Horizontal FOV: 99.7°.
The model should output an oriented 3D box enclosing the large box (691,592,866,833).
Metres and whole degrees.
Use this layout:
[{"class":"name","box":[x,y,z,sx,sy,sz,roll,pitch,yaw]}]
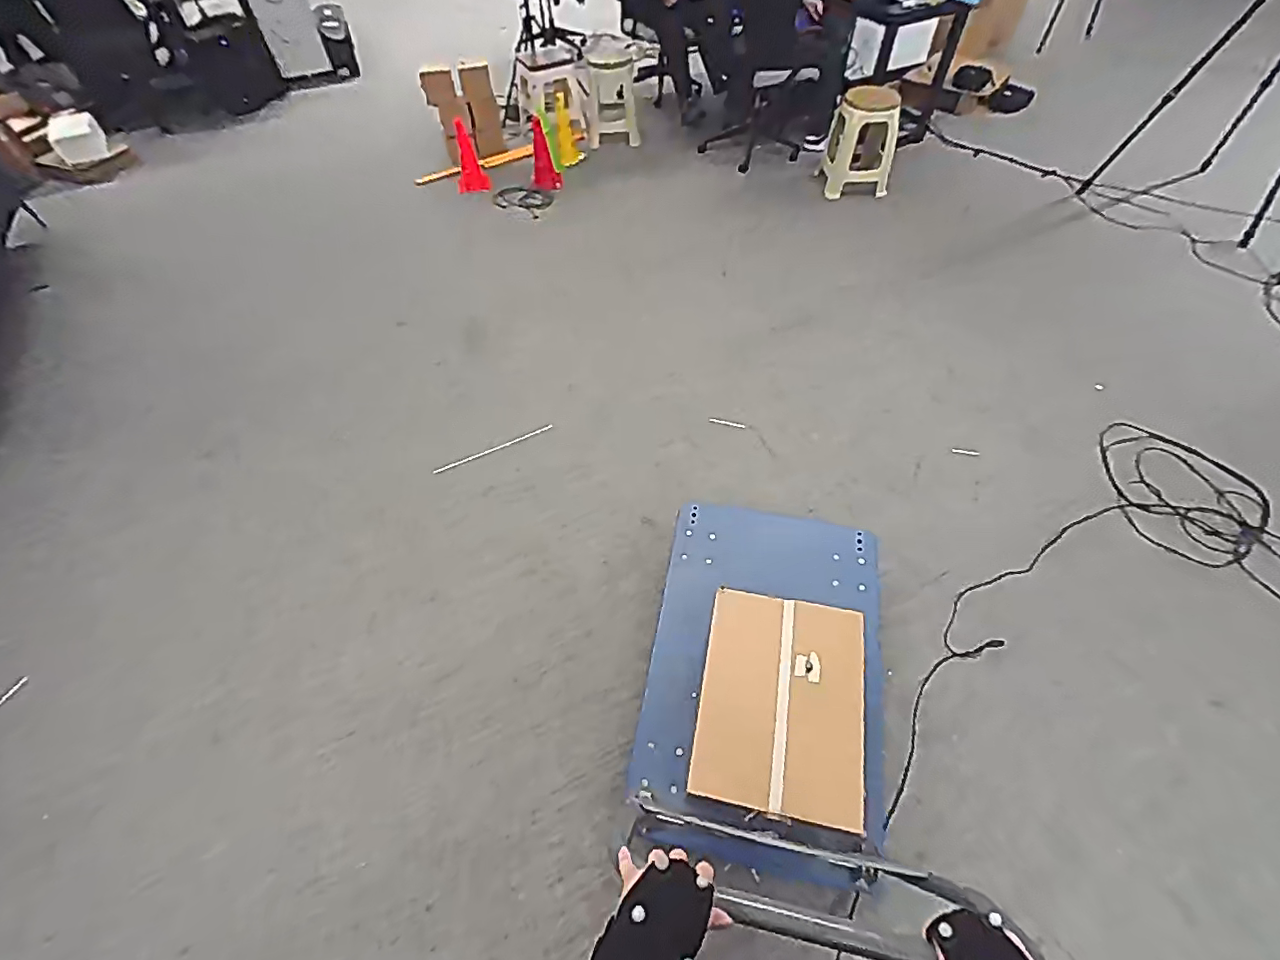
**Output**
[{"class":"large box","box":[0.287,0.511,1.184,0.320,0.320,0.408,8,58,9]}]
